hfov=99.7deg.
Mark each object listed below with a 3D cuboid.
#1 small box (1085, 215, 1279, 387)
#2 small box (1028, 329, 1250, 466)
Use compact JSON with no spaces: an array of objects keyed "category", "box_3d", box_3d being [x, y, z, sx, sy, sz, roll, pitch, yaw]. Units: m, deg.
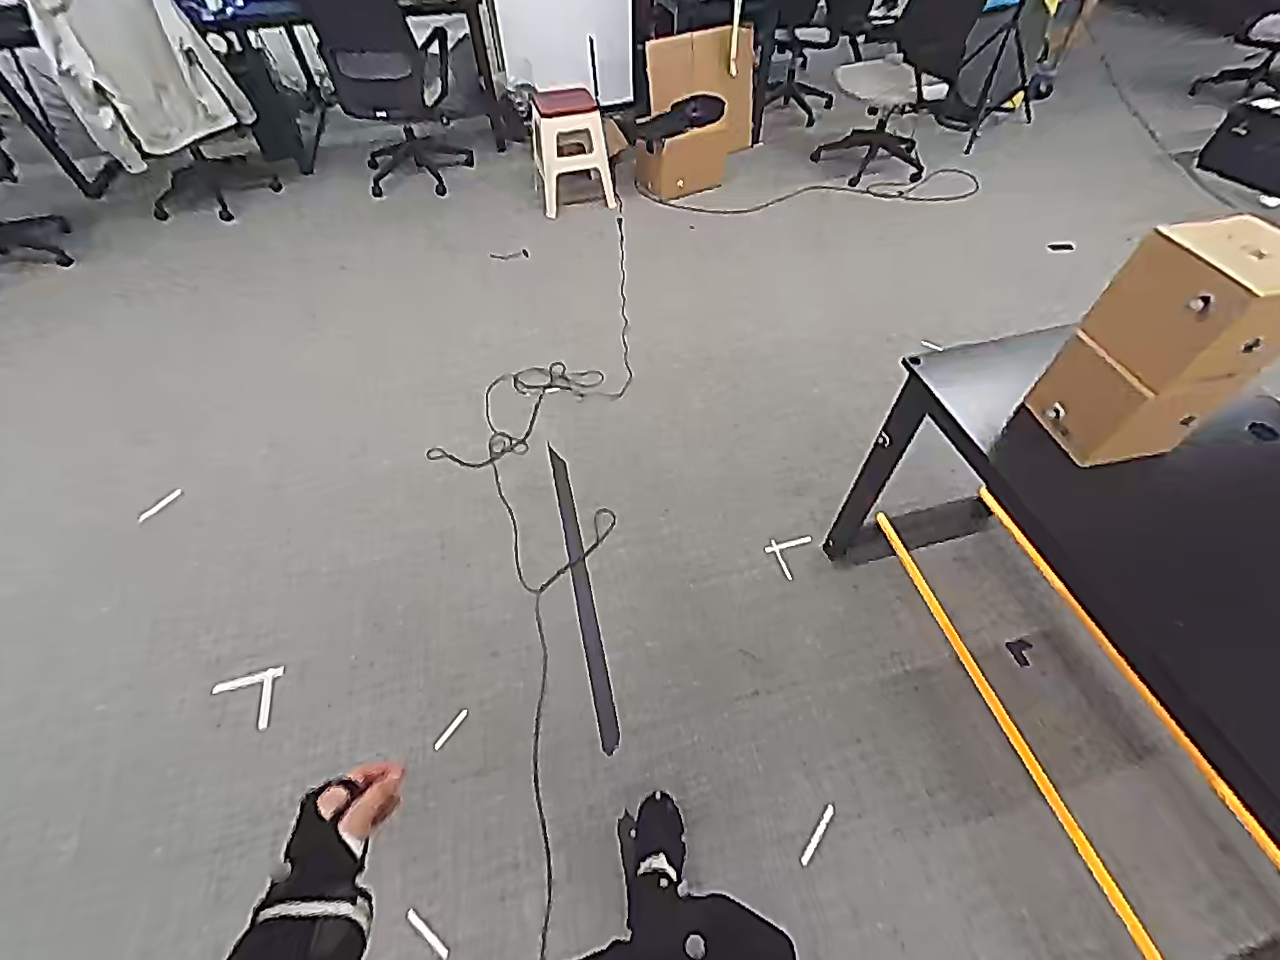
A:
[{"category":"small box","box_3d":[0.817,-0.250,0.780,0.168,0.176,0.179,-10,52,-7]},{"category":"small box","box_3d":[0.814,-0.145,0.907,0.179,0.176,0.168,-11,52,-6]}]
